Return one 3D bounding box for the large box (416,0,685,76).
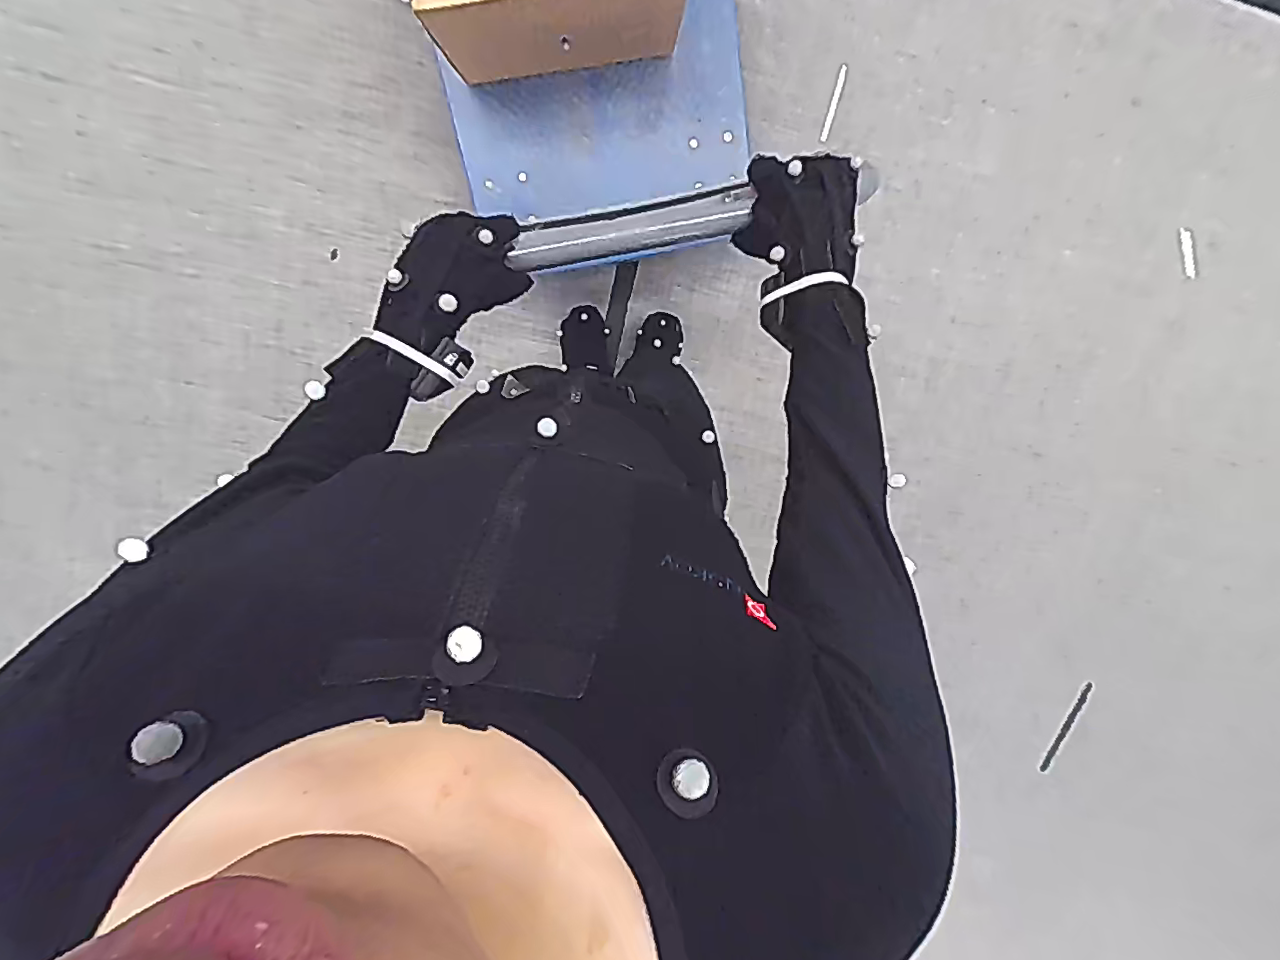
[{"bbox_3d":[-0.146,-0.889,0.844,0.408,0.320,0.320,-9,110,1],"label":"large box"}]
